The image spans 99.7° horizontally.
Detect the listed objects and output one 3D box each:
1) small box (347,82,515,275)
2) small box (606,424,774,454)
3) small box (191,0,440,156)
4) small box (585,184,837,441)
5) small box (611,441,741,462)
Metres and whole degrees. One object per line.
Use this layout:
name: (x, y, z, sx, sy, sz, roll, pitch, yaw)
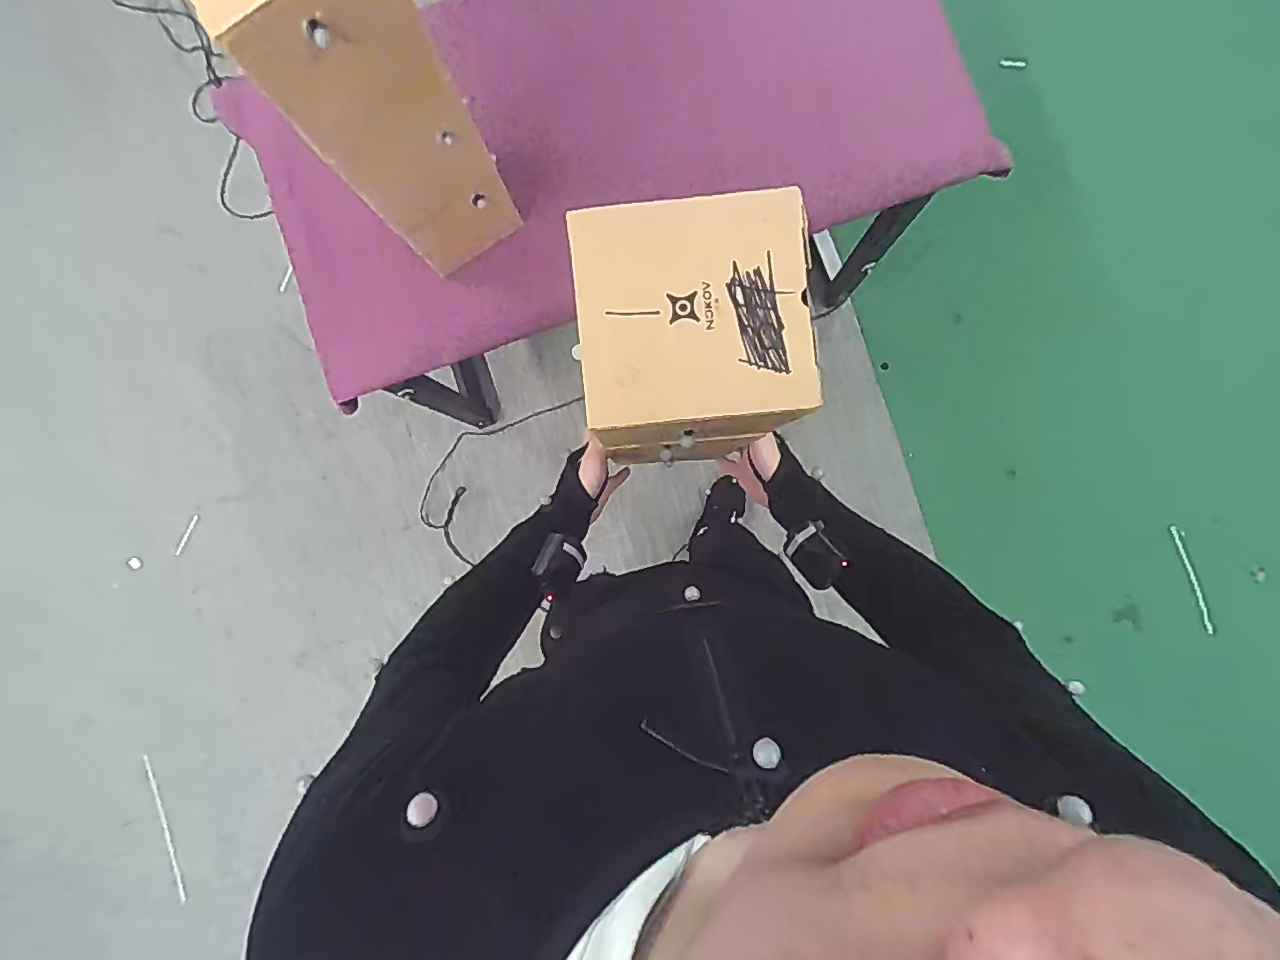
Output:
small box: (-0.320, -0.471, 0.871, 0.179, 0.176, 0.168, -32, 86, 1)
small box: (0.048, -0.123, 0.640, 0.179, 0.176, 0.168, -5, 89, 0)
small box: (-0.328, -0.482, 0.544, 0.179, 0.176, 0.168, -34, 87, 0)
small box: (0.051, -0.128, 0.475, 0.179, 0.176, 0.168, -6, 89, 0)
small box: (0.045, -0.117, 0.803, 0.179, 0.176, 0.168, -4, 89, -1)
